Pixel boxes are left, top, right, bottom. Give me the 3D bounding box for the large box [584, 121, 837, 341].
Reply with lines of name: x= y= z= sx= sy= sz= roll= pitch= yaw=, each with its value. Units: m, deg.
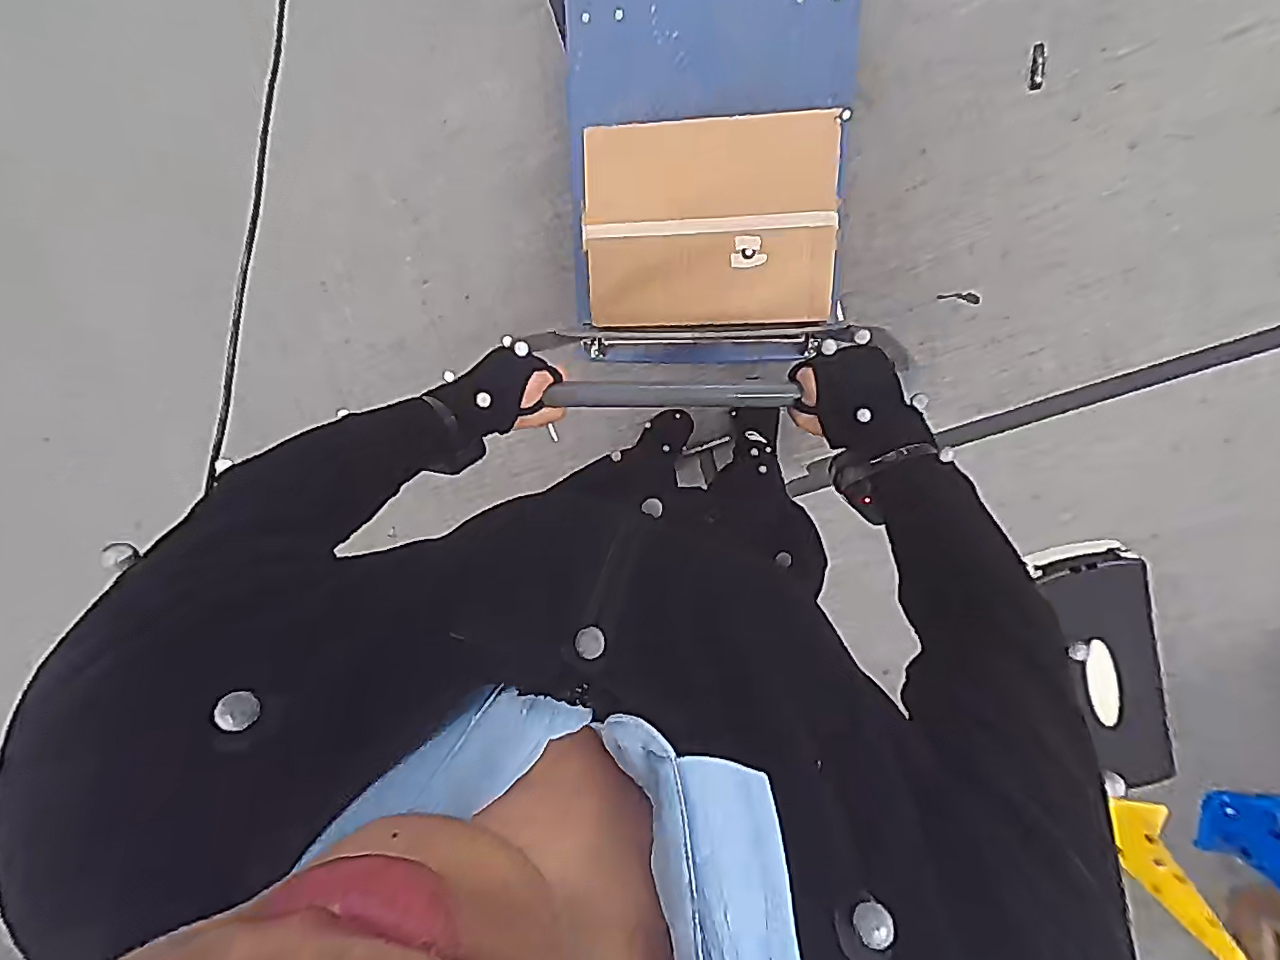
large box: x=0.127 y=-0.435 z=1.030 sx=0.408 sy=0.320 sz=0.320 roll=1 pitch=104 yaw=7
